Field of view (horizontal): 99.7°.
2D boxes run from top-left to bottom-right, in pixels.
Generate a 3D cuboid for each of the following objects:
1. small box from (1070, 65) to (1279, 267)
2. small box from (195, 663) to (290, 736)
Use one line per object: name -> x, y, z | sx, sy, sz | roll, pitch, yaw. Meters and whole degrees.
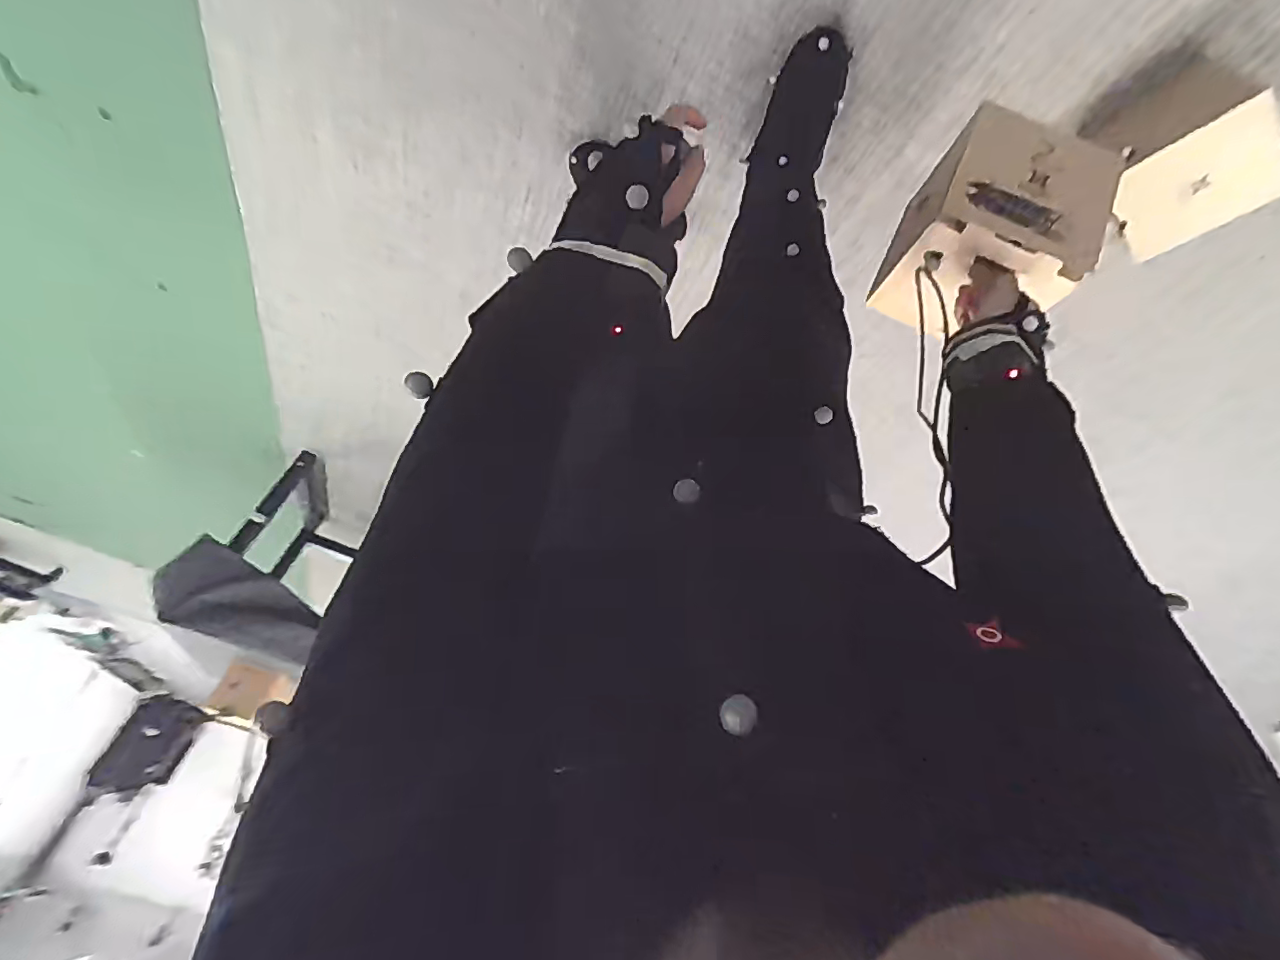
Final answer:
small box -> 0.801, -0.472, 0.817 | 0.168, 0.176, 0.179 | 38, 137, -26
small box -> -1.319, 0.731, 1.810 | 0.168, 0.176, 0.179 | 19, 143, -2
